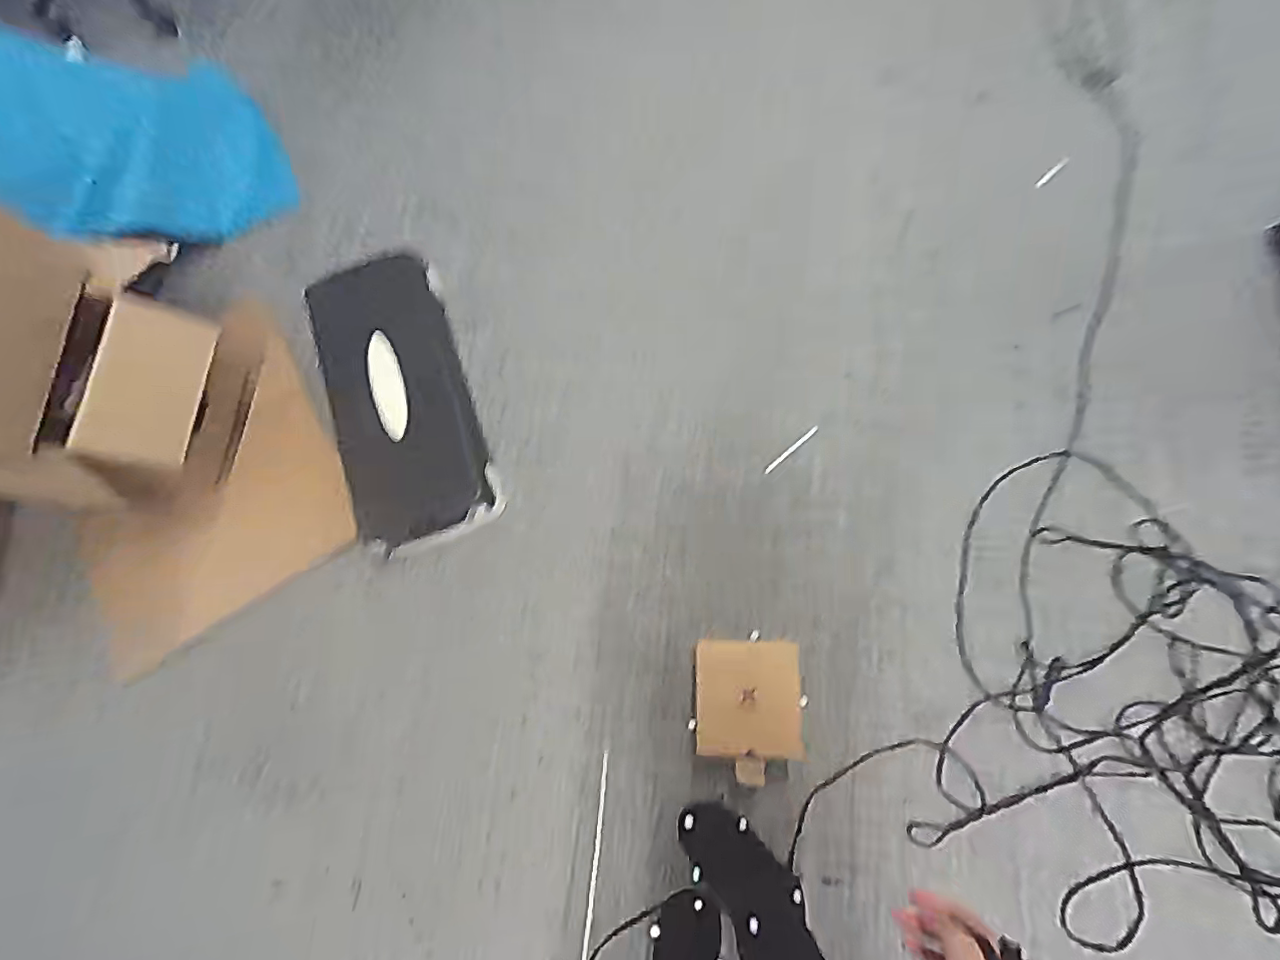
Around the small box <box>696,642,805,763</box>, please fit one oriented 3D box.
[{"bbox_3d":[0.183,0.377,0.945,0.168,0.176,0.179,-1,76,5],"label":"small box"}]
